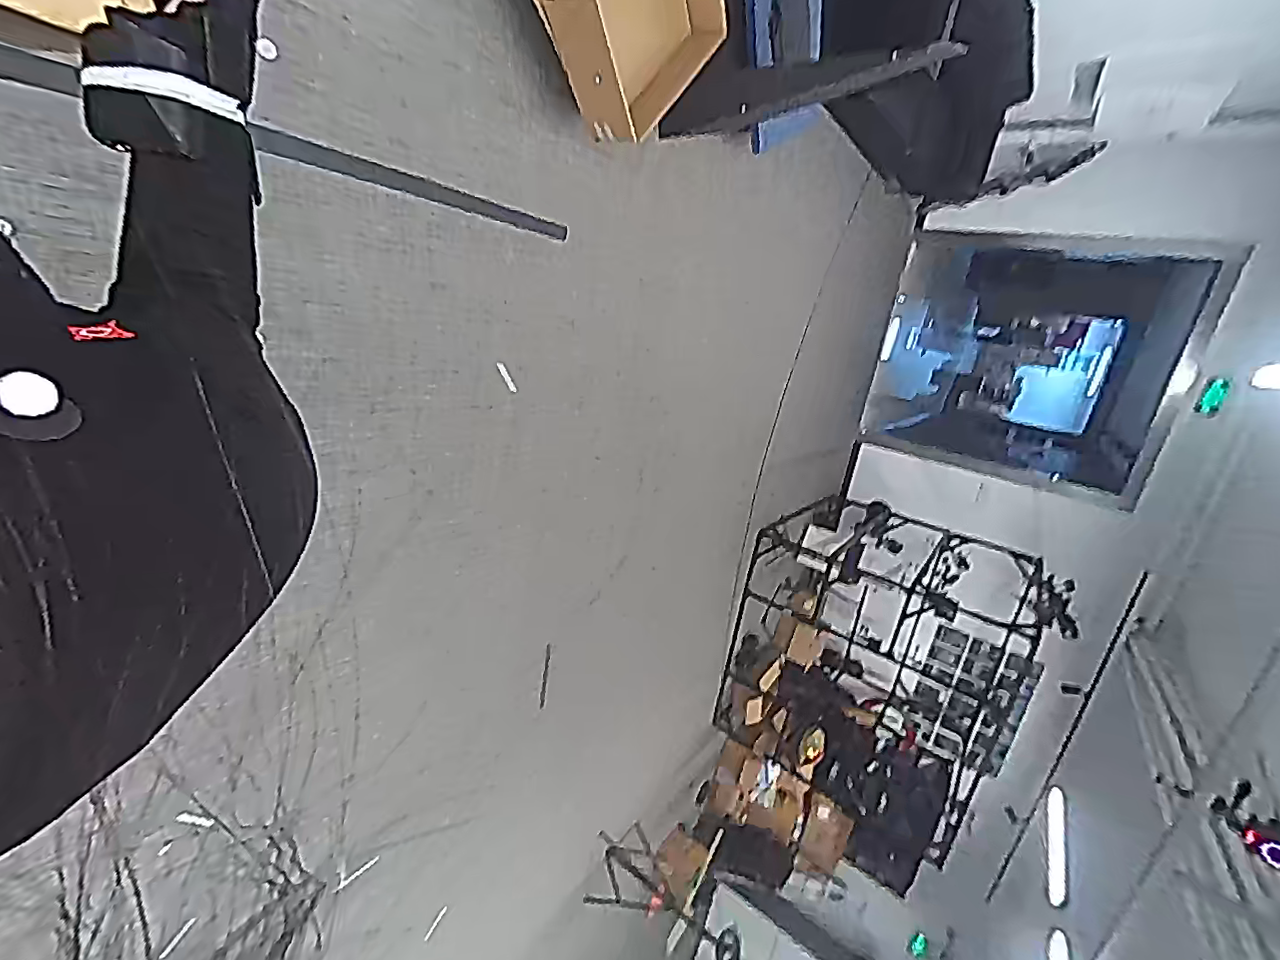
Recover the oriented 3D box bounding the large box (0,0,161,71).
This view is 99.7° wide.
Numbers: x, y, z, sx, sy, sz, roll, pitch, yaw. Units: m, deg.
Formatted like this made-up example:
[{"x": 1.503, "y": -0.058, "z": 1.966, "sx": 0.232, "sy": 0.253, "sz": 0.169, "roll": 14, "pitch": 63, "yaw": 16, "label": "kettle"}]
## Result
[{"x": -0.517, "y": -0.442, "z": 0.223, "sx": 0.408, "sy": 0.320, "sz": 0.320, "roll": -14, "pitch": 126, "yaw": -56, "label": "large box"}]
